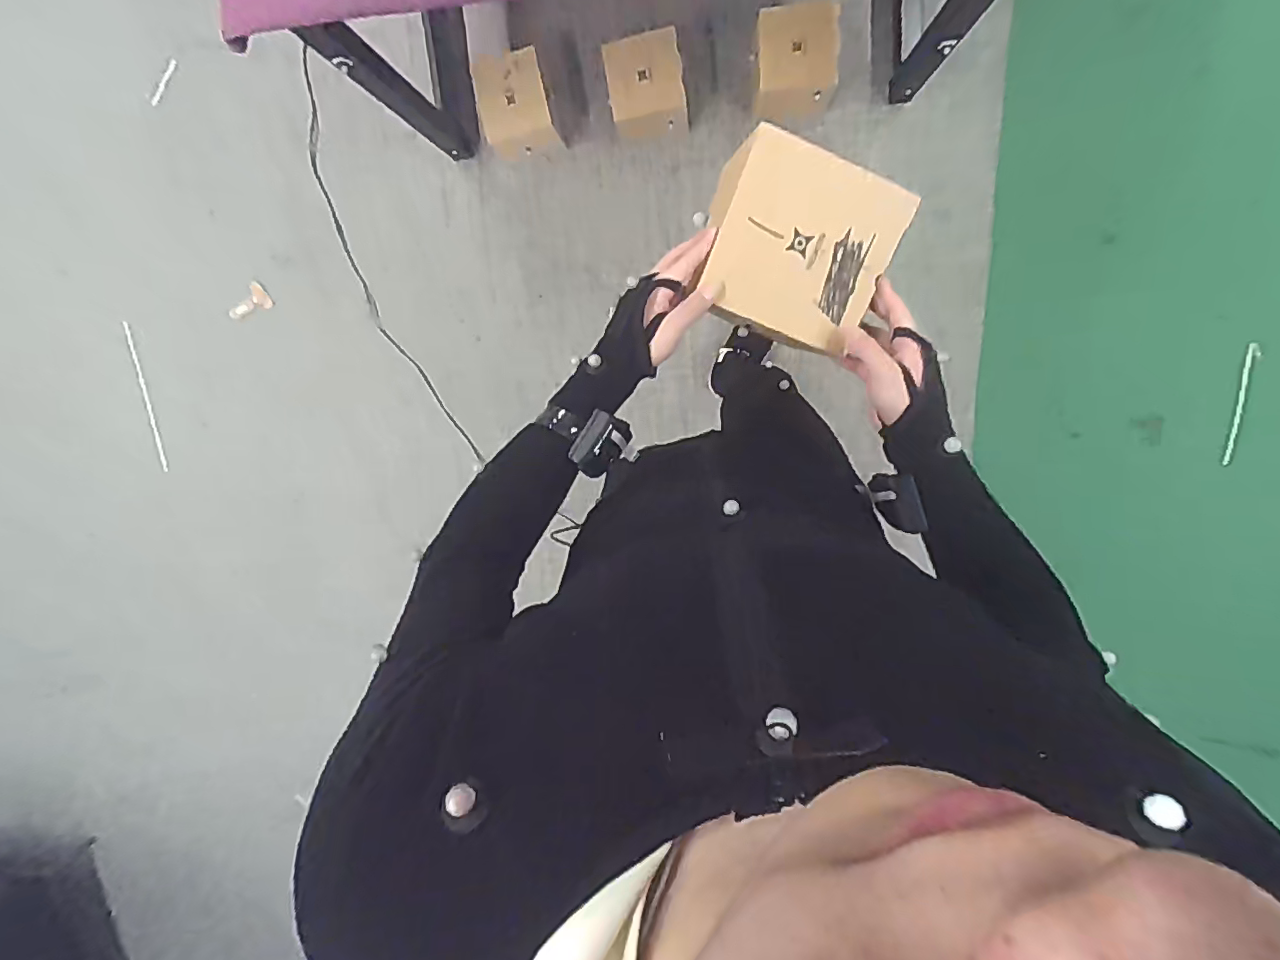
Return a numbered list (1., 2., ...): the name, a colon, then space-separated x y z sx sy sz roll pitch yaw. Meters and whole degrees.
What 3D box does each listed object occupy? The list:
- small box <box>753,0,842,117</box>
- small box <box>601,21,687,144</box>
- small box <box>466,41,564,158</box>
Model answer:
1. small box: 0.358 -0.974 1.259 0.179 0.176 0.168 -2 103 6
2. small box: 0.016 -0.944 1.300 0.179 0.176 0.168 -9 101 9
3. small box: -0.299 -0.922 1.335 0.168 0.176 0.179 -11 102 8
